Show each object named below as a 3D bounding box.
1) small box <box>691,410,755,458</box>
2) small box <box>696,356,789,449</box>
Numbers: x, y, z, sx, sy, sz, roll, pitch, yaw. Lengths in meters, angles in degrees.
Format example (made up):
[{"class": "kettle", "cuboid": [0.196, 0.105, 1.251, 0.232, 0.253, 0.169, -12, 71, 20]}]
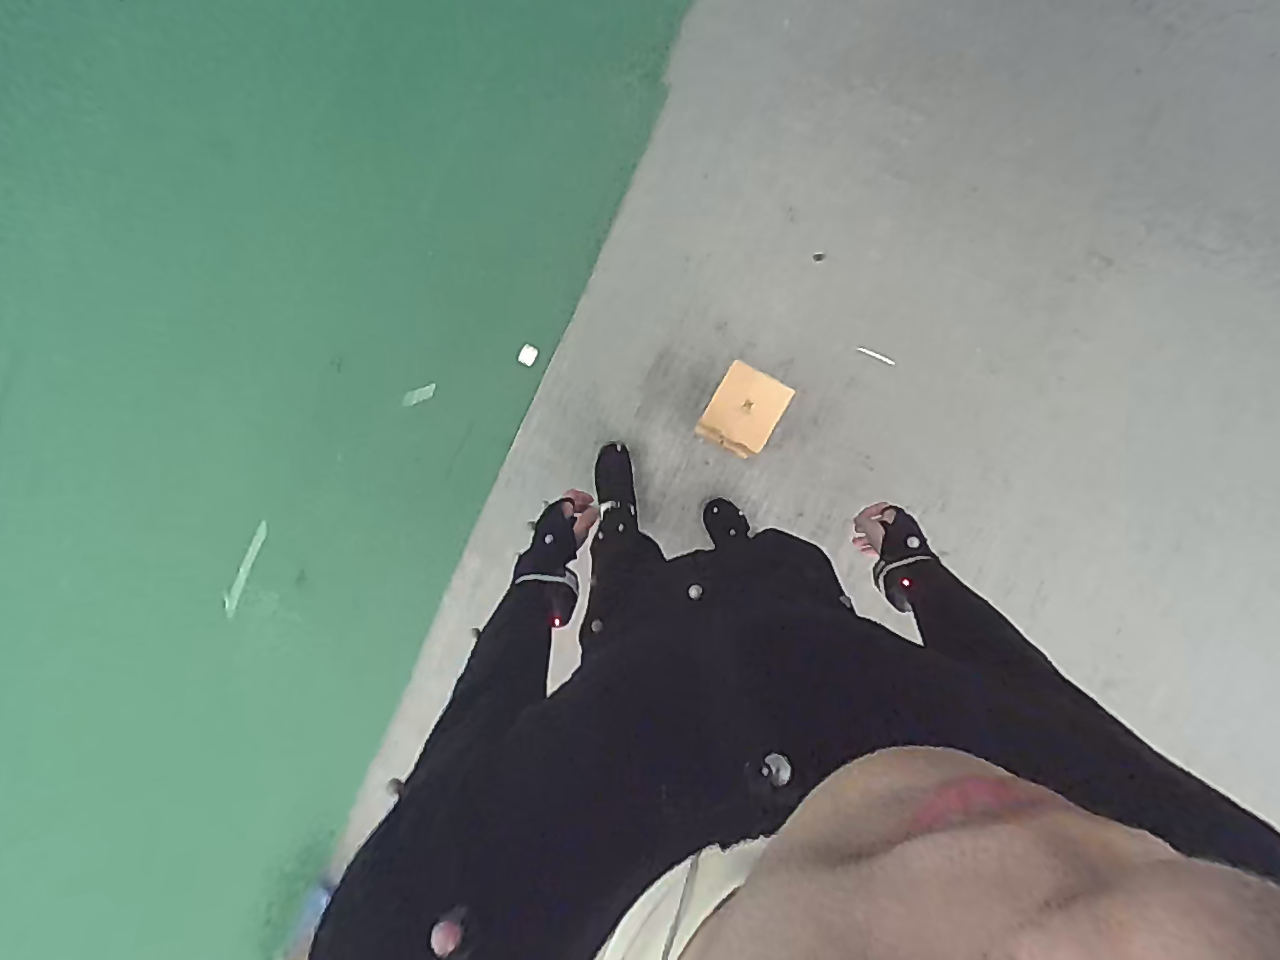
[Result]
[{"class": "small box", "cuboid": [0.258, -0.173, 1.527, 0.168, 0.176, 0.179, 31, 93, 3]}, {"class": "small box", "cuboid": [0.253, -0.186, 1.373, 0.168, 0.176, 0.179, -28, 88, 7]}]
